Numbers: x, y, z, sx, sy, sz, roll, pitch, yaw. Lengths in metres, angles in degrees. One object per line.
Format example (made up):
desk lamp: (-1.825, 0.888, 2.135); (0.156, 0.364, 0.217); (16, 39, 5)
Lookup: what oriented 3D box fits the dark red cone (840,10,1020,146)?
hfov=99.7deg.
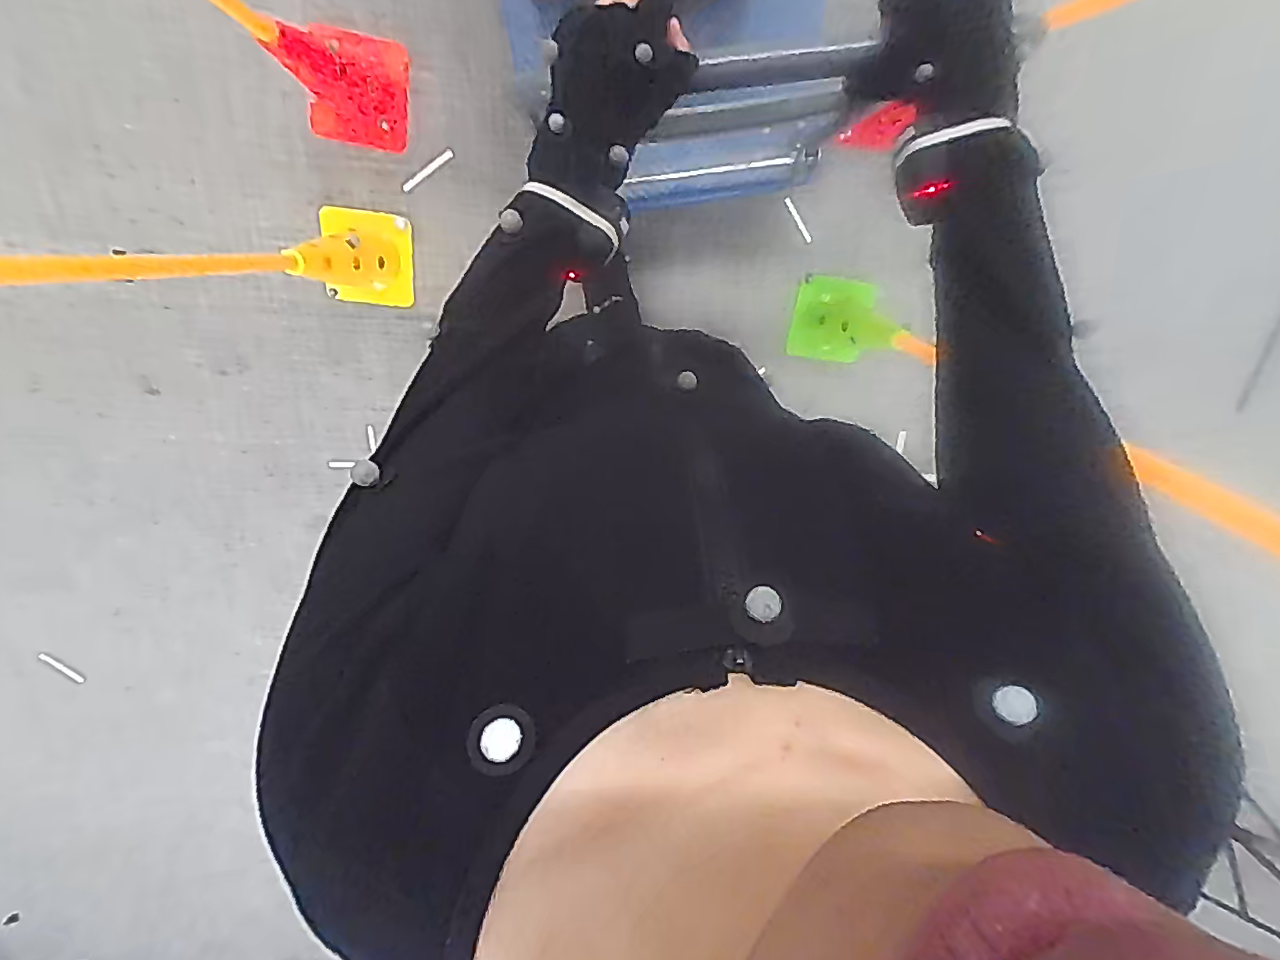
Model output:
dark red cone: (0.557, -0.784, 1.024); (0.201, 0.394, 0.202); (1, 113, -7)

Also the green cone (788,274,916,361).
green cone: (0.505, -0.345, 1.226); (0.202, 0.368, 0.200); (5, 113, -7)

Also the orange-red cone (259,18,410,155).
orange-red cone: (-0.576, -0.749, 0.982); (0.198, 0.360, 0.199); (8, 111, -9)
